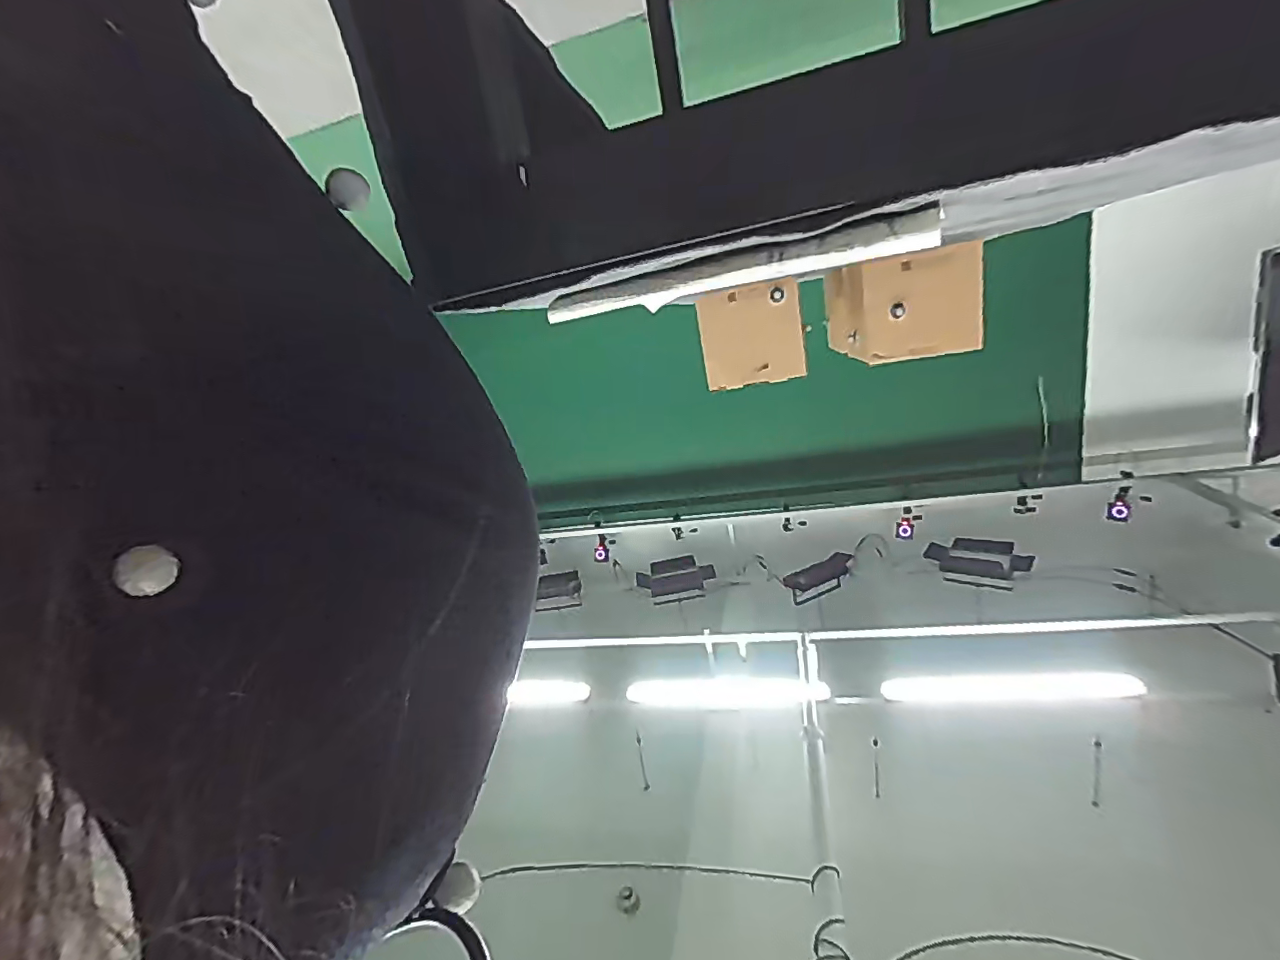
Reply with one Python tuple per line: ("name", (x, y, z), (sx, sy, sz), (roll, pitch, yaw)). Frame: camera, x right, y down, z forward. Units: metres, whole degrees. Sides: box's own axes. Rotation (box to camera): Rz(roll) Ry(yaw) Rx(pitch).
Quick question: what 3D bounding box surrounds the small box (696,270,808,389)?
("small box", (0.201, -0.270, 0.962), (0.168, 0.176, 0.179), (-7, -163, 18))
